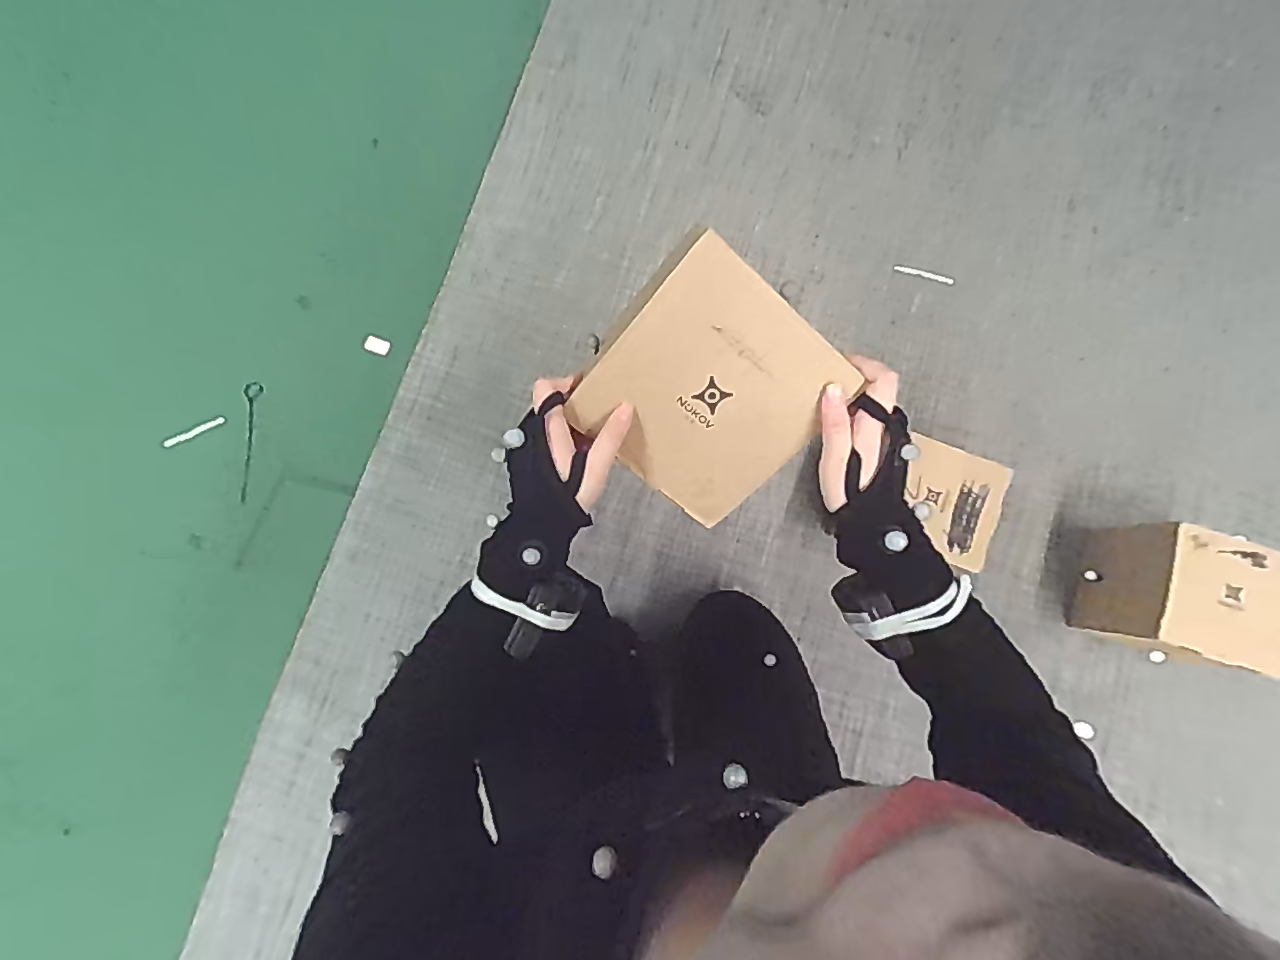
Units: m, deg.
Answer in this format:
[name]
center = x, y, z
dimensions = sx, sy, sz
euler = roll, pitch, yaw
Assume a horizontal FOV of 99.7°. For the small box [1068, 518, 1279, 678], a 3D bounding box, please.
[small box]
center = 0.803, 0.172, 0.821
dimensions = 0.168, 0.176, 0.179
euler = 19, 82, 5
